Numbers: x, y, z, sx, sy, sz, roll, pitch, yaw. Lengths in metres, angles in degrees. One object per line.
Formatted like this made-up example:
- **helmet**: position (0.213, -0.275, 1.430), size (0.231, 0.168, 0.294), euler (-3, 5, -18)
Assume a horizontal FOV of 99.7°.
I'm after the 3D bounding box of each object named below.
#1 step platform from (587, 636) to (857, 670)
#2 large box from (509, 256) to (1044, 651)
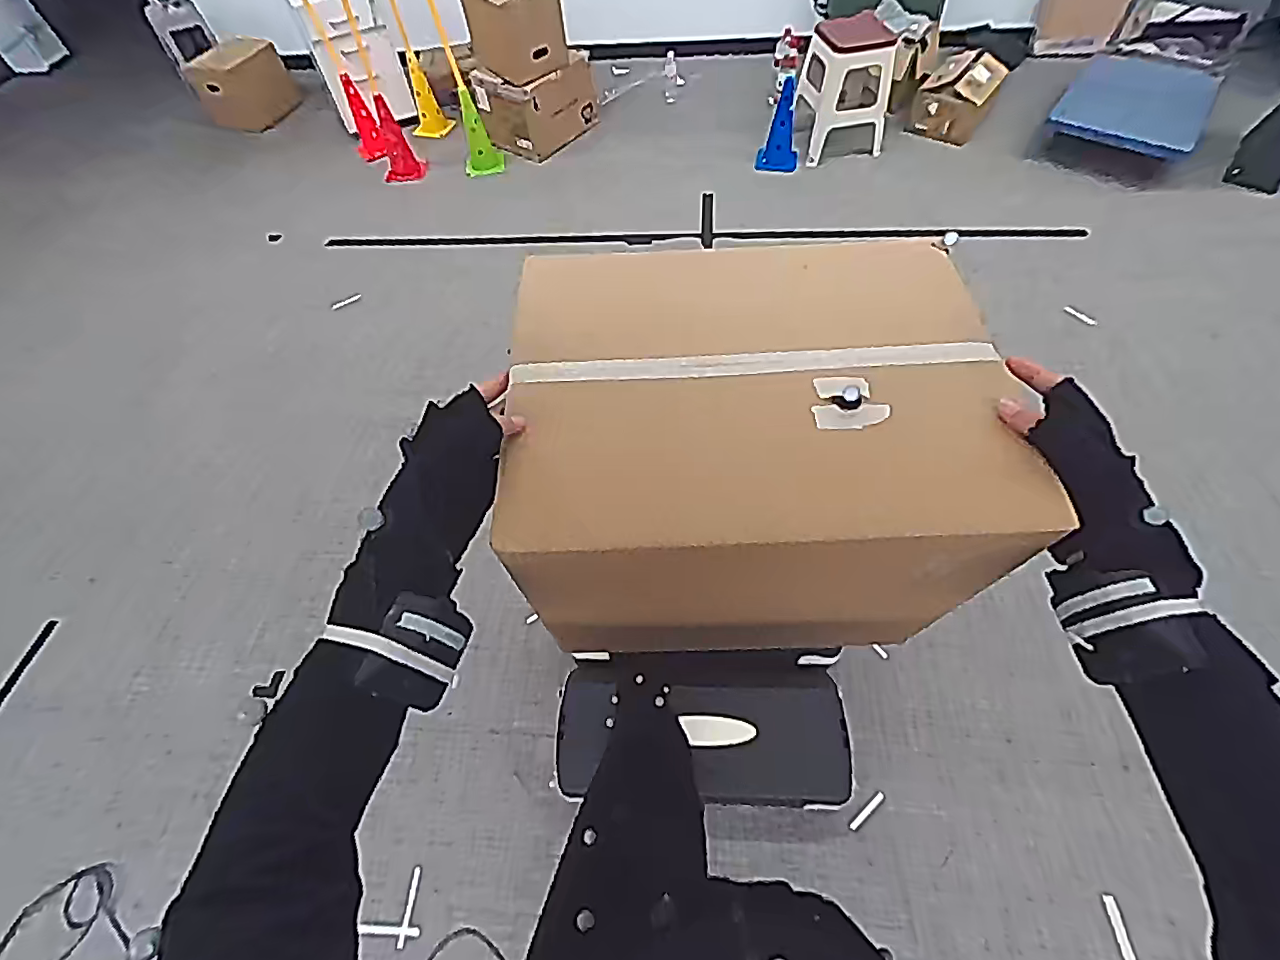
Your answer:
- **step platform**: position (0.196, 0.321, 1.403), size (0.684, 0.204, 0.286), euler (0, 57, 3)
- **large box**: position (0.097, -0.011, 0.598), size (0.408, 0.320, 0.320), euler (-2, 60, 0)
